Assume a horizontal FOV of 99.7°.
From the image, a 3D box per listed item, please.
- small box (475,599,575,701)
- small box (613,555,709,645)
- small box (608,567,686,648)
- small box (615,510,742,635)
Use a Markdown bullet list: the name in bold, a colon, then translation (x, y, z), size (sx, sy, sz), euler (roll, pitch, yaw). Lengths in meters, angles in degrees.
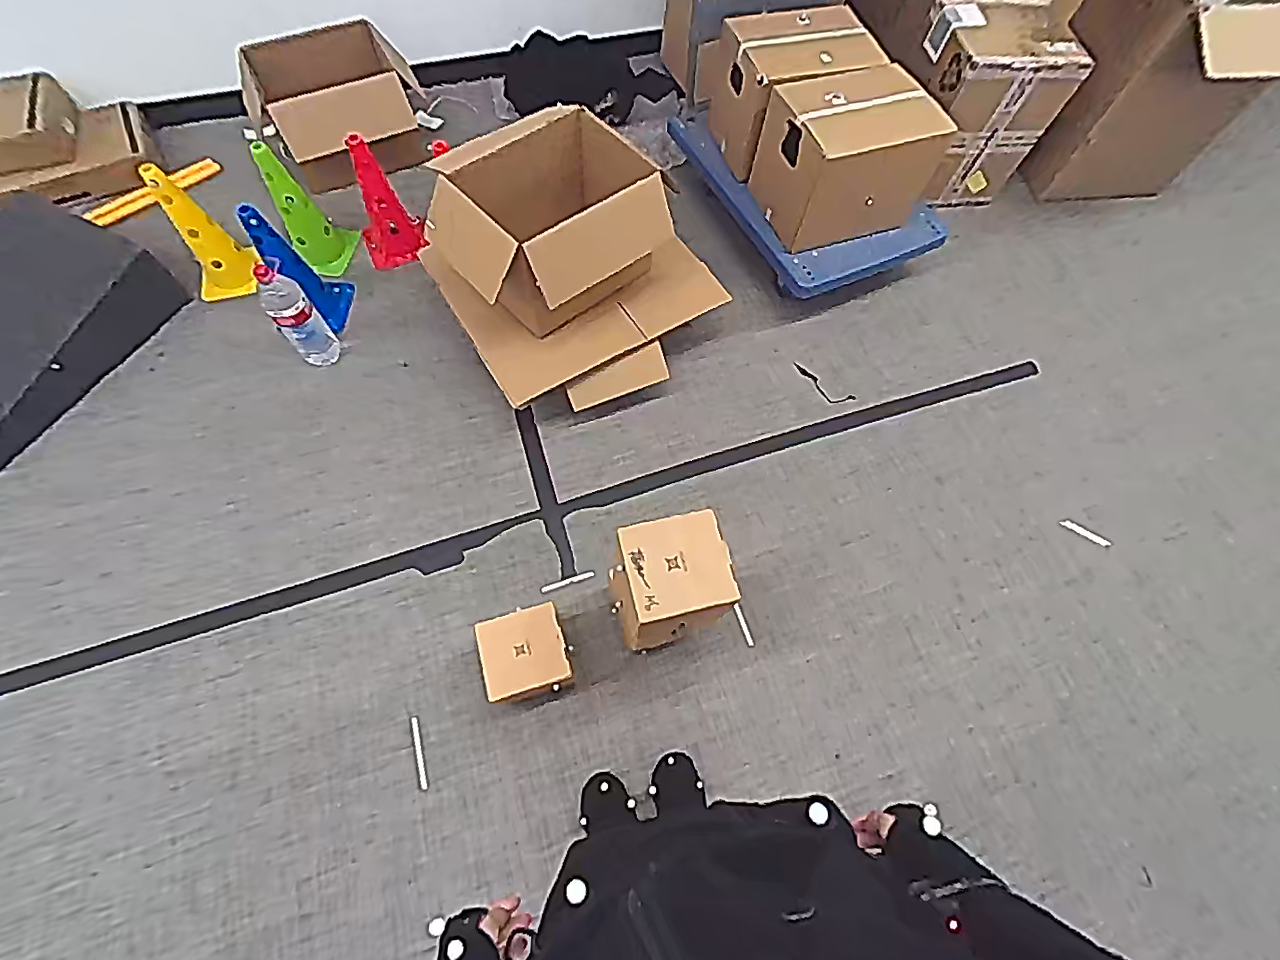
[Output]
- **small box**: translation (-0.253, 0.387, 1.213), size (0.179, 0.176, 0.168), euler (-15, 68, -11)
- **small box**: translation (0.047, 0.233, 1.120), size (0.179, 0.176, 0.168), euler (-14, 68, -10)
- **small box**: translation (0.027, 0.286, 1.276), size (0.168, 0.176, 0.179), euler (-16, 67, -11)
- **small box**: translation (0.059, 0.170, 0.969), size (0.179, 0.176, 0.168), euler (-11, 67, -10)
